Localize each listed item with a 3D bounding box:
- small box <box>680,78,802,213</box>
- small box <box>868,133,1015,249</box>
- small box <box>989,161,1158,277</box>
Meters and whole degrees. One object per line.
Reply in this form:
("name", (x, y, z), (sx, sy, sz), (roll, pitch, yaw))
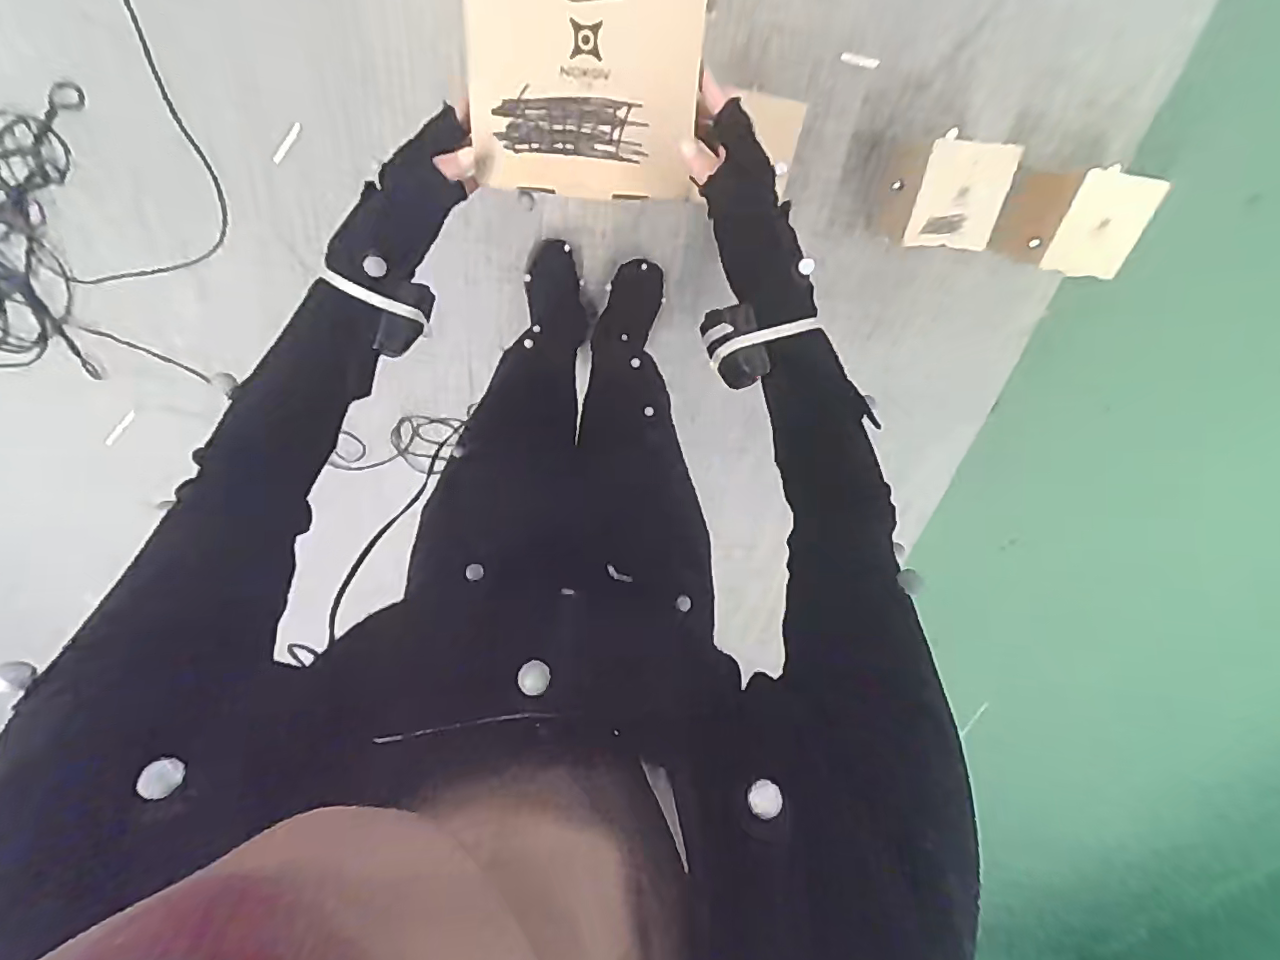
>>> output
("small box", (0.174, -0.615, 0.999), (0.168, 0.176, 0.179), (8, 124, -7))
("small box", (0.569, -0.566, 1.054), (0.168, 0.176, 0.179), (2, 123, -5))
("small box", (0.857, -0.532, 1.094), (0.168, 0.176, 0.179), (6, 124, -6))
